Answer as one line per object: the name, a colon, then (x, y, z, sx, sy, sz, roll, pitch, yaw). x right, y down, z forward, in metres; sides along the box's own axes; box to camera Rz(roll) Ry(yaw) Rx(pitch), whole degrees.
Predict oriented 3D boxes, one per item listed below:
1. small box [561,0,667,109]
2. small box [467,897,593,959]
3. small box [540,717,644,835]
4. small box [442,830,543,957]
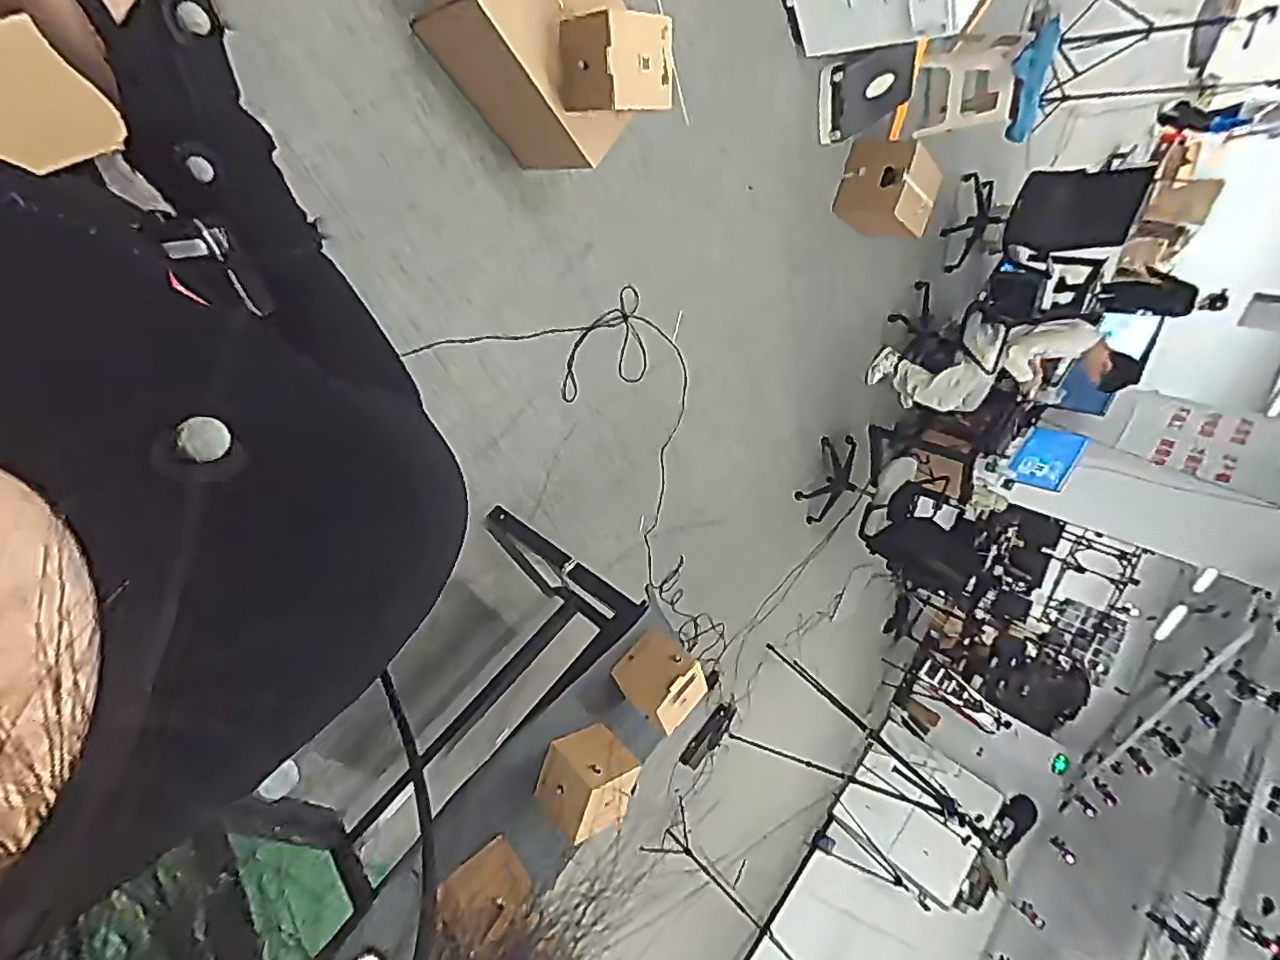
small box: (-0.060, -0.921, 1.187, 0.179, 0.176, 0.168, -27, 130, -33)
small box: (-0.235, 1.030, 1.148, 0.168, 0.176, 0.179, -50, 140, -17)
small box: (-0.125, 0.737, 1.368, 0.179, 0.176, 0.168, 3, 109, -49)
small box: (-0.345, 0.980, 1.261, 0.179, 0.176, 0.168, -22, 127, -41)
